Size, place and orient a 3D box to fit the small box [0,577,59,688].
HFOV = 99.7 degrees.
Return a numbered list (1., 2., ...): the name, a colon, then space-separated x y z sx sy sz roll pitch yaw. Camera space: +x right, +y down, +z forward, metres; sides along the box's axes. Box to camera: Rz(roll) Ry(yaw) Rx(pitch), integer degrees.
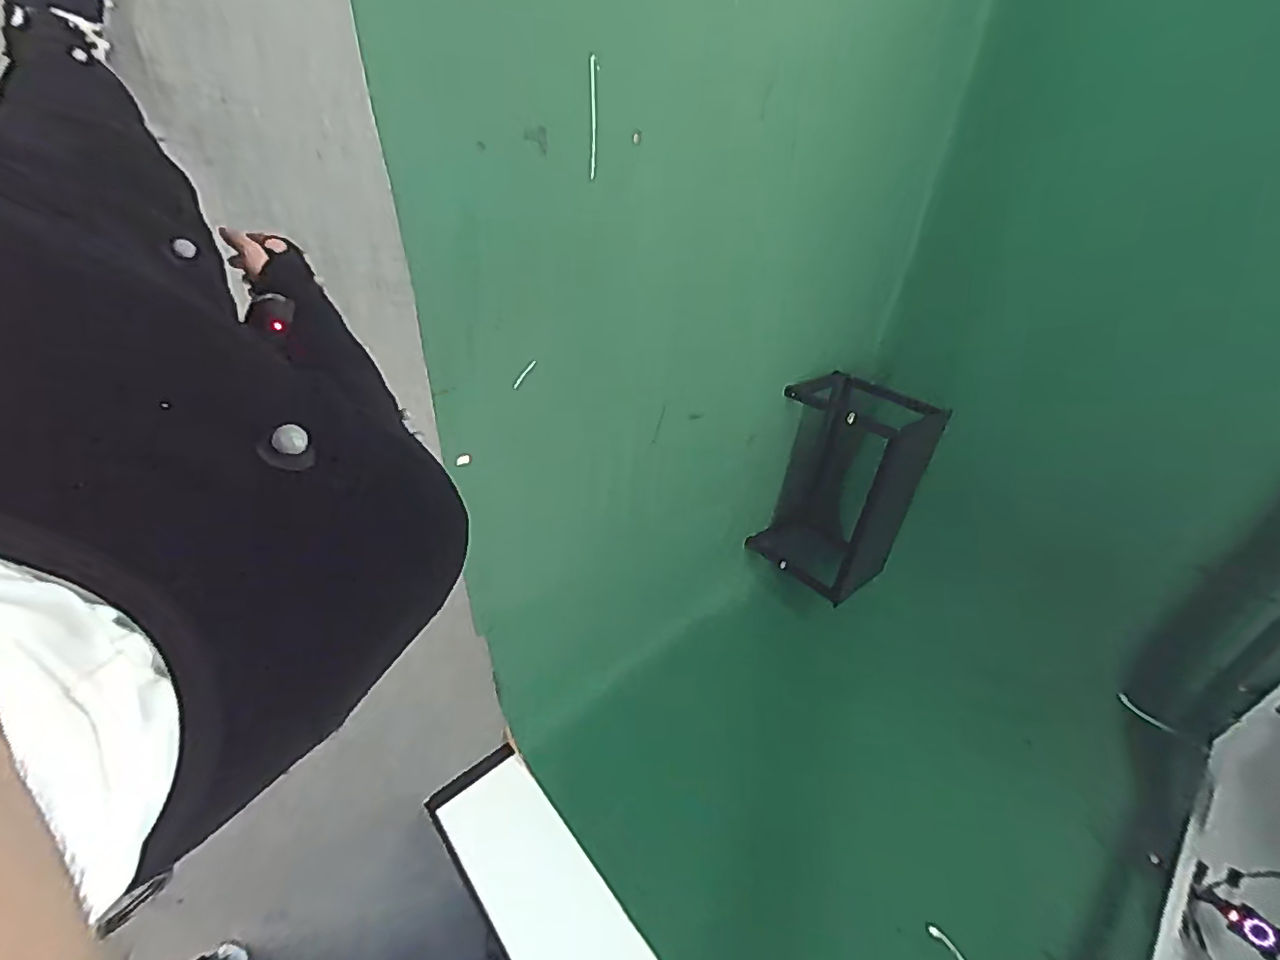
1. small box: -1.446 0.349 1.202 0.179 0.176 0.168 -21 132 -37
